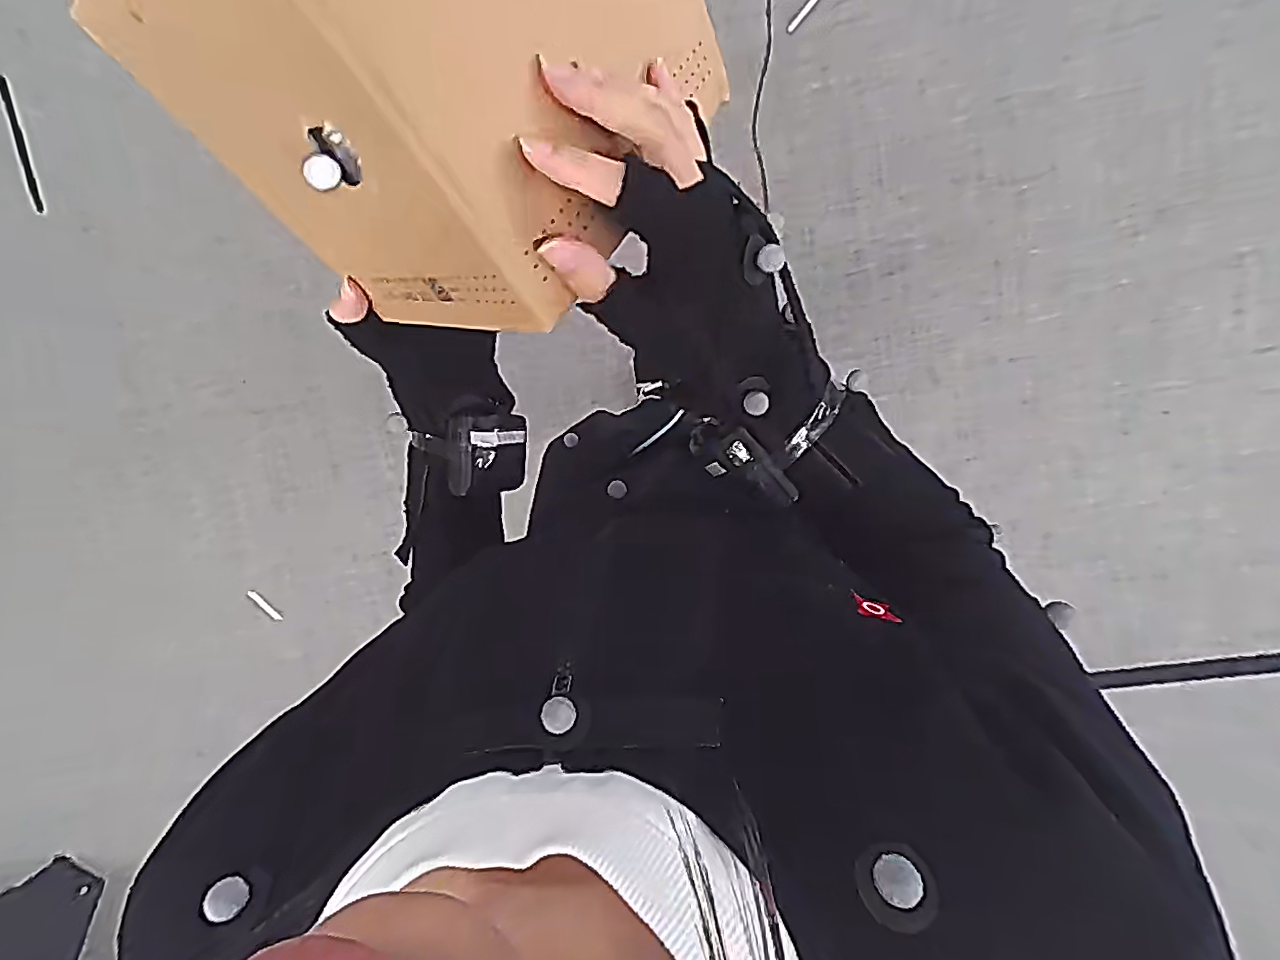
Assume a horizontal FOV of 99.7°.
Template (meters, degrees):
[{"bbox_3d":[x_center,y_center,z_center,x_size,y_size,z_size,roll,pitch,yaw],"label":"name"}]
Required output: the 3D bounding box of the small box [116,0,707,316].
[{"bbox_3d":[-0.091,-0.203,0.267,0.168,0.176,0.179,19,69,39],"label":"small box"}]
